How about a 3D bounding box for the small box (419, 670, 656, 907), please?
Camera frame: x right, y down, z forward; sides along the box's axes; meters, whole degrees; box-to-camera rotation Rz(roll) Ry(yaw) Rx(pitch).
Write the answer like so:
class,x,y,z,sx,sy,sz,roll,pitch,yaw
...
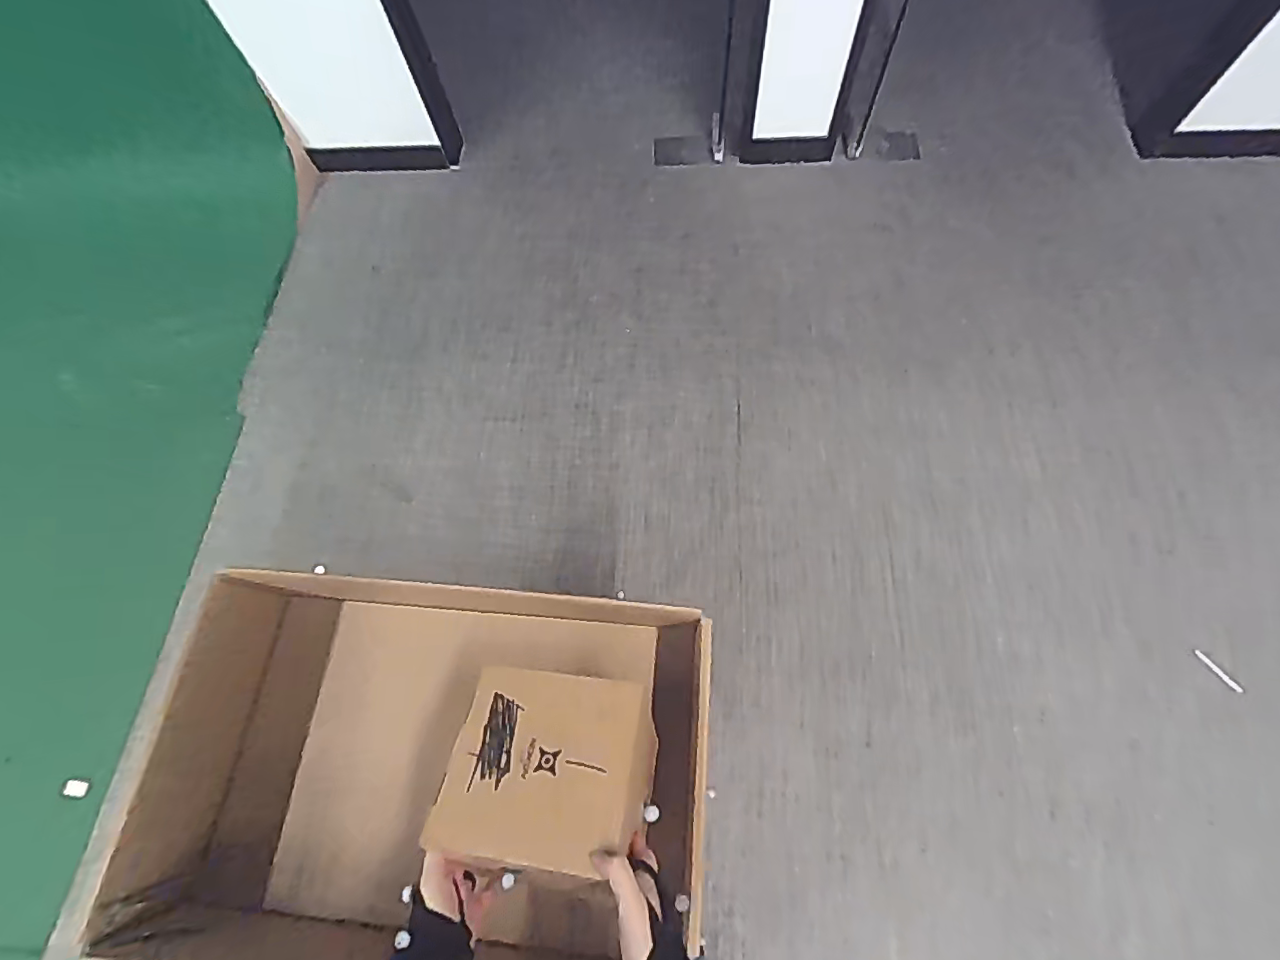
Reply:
class,x,y,z,sx,sy,sz,roll,pitch,yaw
small box,-0.087,0.320,0.563,0.179,0.176,0.168,3,46,11
